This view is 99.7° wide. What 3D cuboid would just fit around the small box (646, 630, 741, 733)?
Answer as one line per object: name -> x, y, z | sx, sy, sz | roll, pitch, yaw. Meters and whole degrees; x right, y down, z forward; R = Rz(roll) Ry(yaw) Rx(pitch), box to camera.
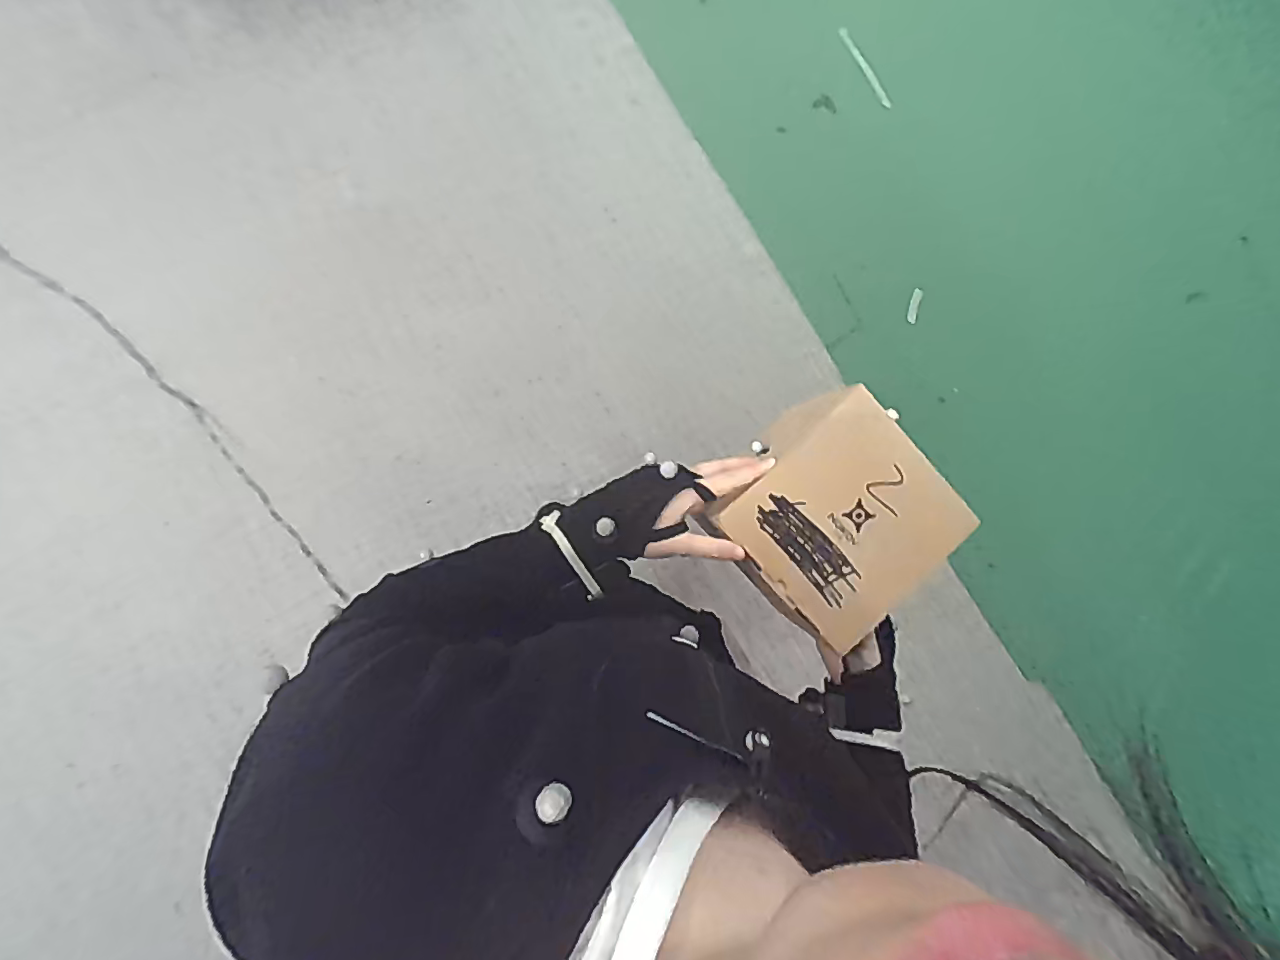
small box -> 0.133, 0.517, 1.417 | 0.168, 0.176, 0.179 | -30, 87, -10
